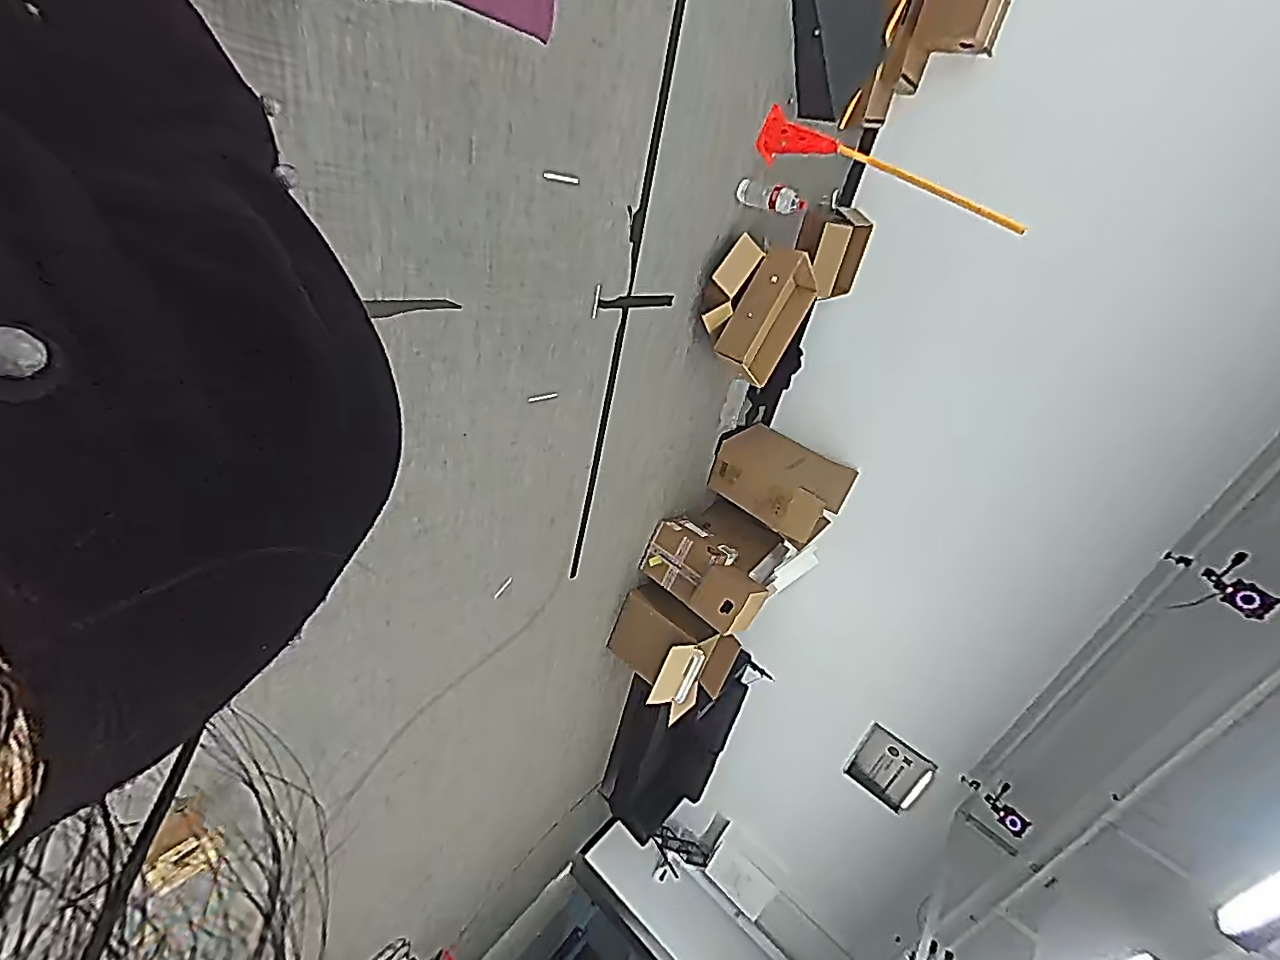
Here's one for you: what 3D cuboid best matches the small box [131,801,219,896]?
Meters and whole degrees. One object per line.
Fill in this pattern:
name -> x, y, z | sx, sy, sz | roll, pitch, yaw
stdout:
small box -> -1.535, 1.205, 1.785 | 0.168, 0.176, 0.179 | -25, 138, -45
